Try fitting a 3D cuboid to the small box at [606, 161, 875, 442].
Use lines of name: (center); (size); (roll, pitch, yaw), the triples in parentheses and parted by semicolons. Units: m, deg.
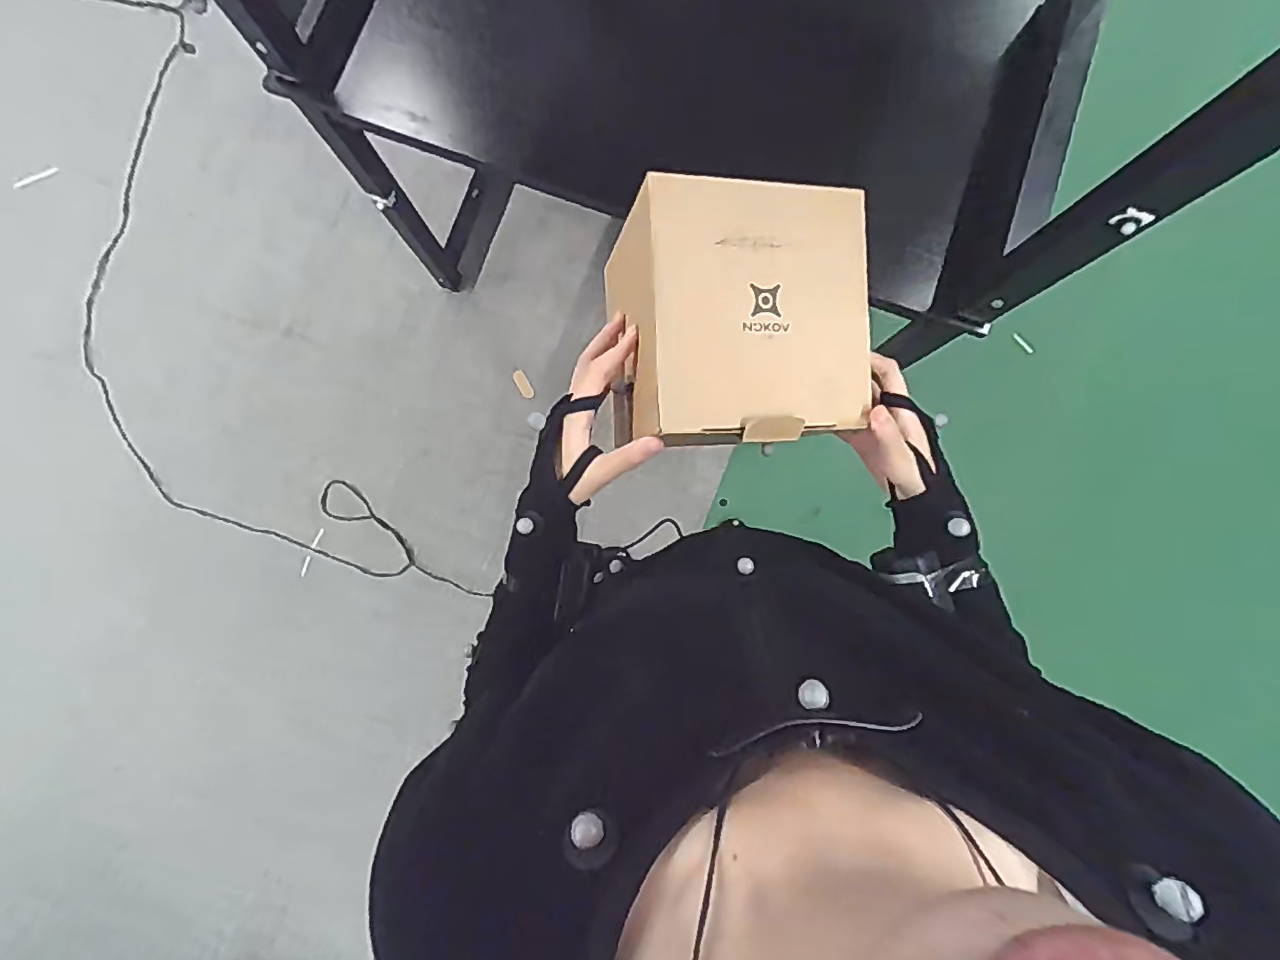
small box: (0.067, -0.122, 0.443); (0.168, 0.176, 0.179); (-2, 90, -14)
